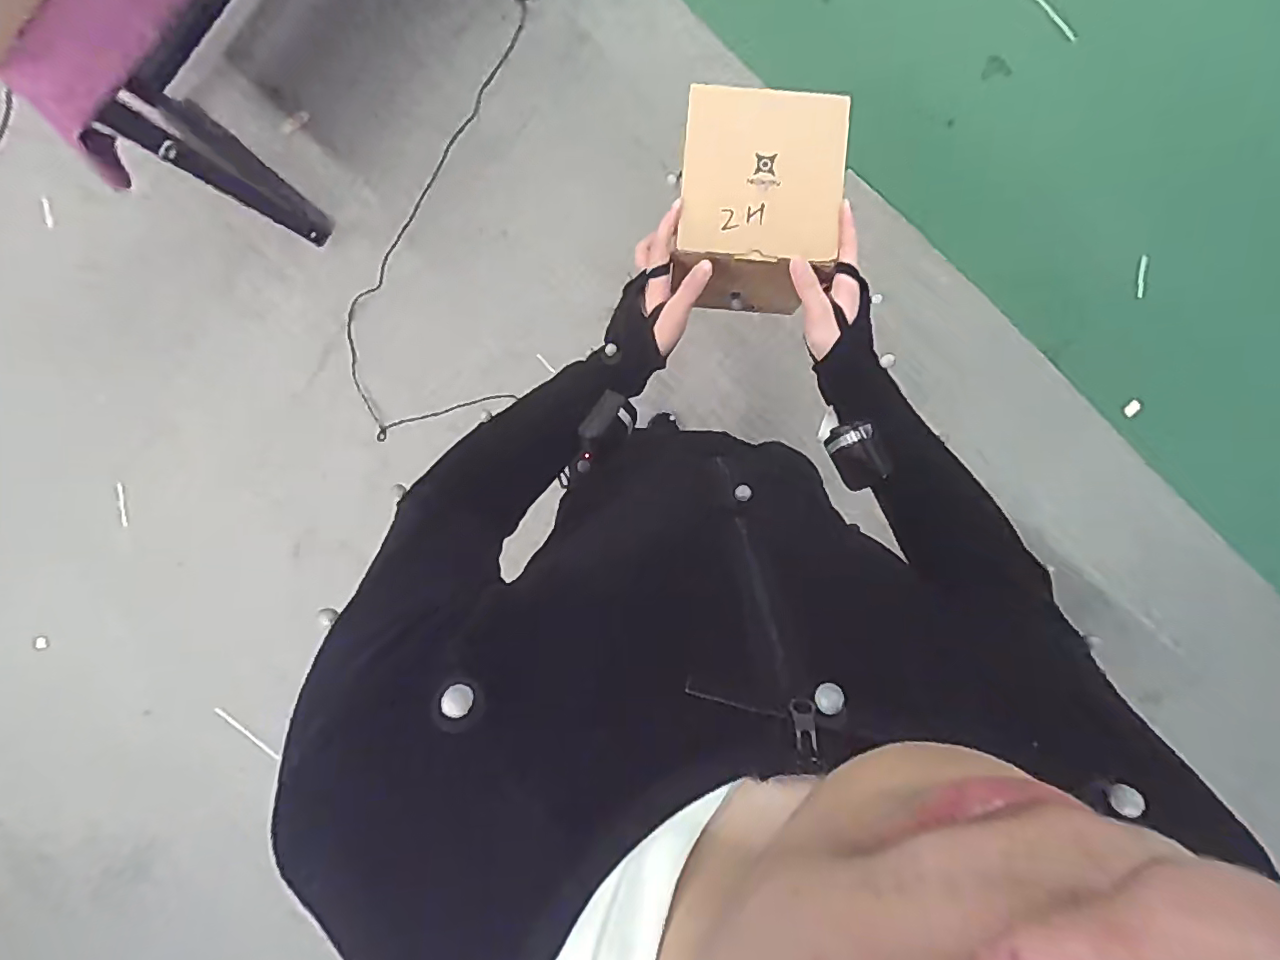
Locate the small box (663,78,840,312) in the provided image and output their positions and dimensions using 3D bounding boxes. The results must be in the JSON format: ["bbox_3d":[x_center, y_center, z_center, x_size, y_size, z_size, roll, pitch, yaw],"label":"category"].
[{"bbox_3d":[0.116,-0.312,0.624,0.168,0.176,0.179,5,90,1],"label":"small box"}]

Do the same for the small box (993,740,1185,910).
[{"bbox_3d":[0.811,0.618,0.998,0.179,0.176,0.168,42,95,-4],"label":"small box"}]
